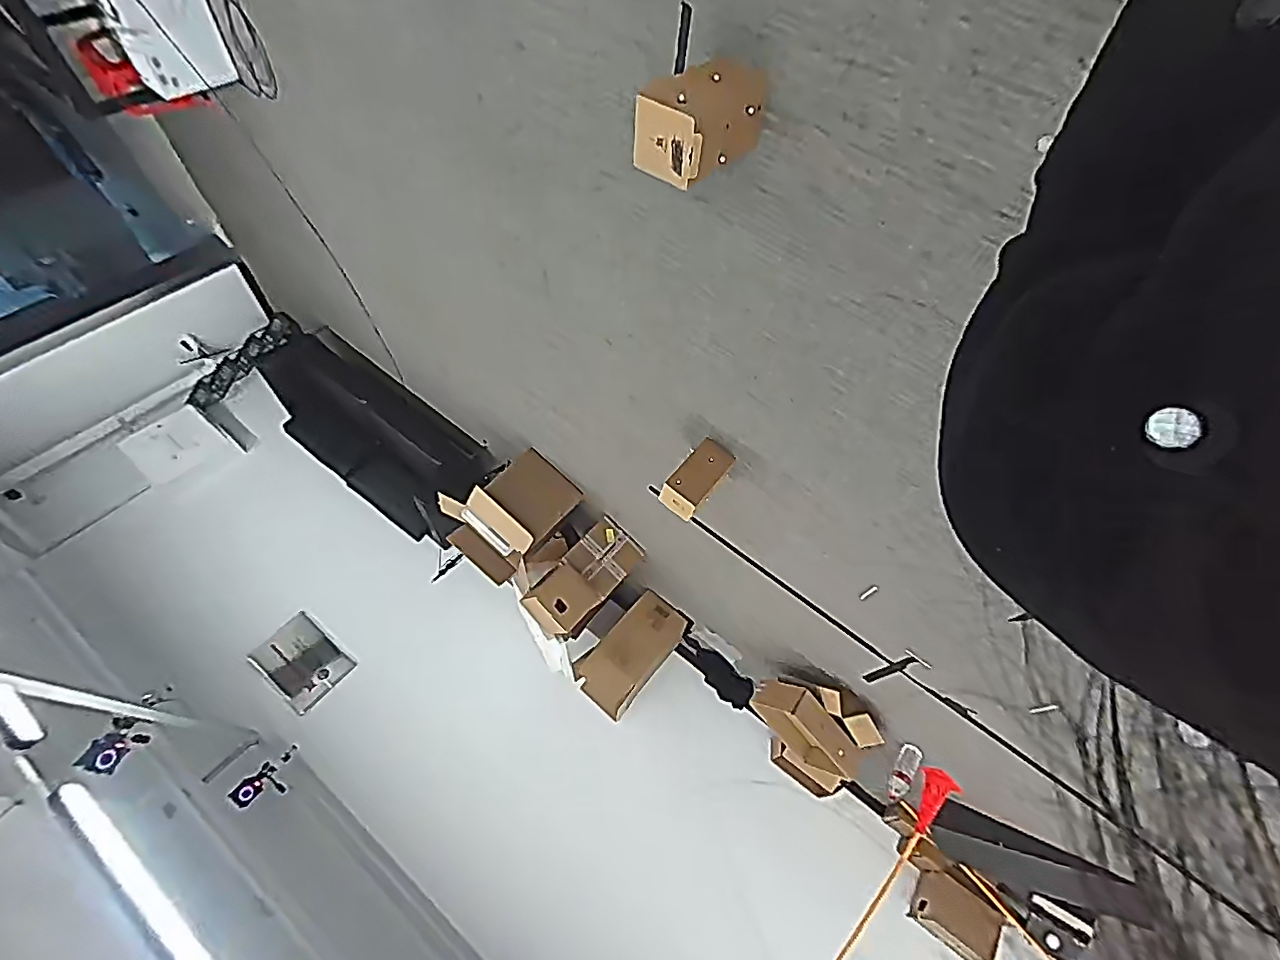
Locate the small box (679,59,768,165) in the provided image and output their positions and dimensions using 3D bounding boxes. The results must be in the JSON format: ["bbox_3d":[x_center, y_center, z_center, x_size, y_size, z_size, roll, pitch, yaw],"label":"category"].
[{"bbox_3d":[0.209,-0.964,1.411,0.179,0.176,0.168,35,150,19],"label":"small box"}]

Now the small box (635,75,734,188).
[{"bbox_3d":[0.108,-0.862,1.330,0.179,0.176,0.168,35,151,18],"label":"small box"}]

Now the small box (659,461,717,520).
[{"bbox_3d":[0.213,0.039,2.424,0.179,0.176,0.168,37,152,11],"label":"small box"}]
